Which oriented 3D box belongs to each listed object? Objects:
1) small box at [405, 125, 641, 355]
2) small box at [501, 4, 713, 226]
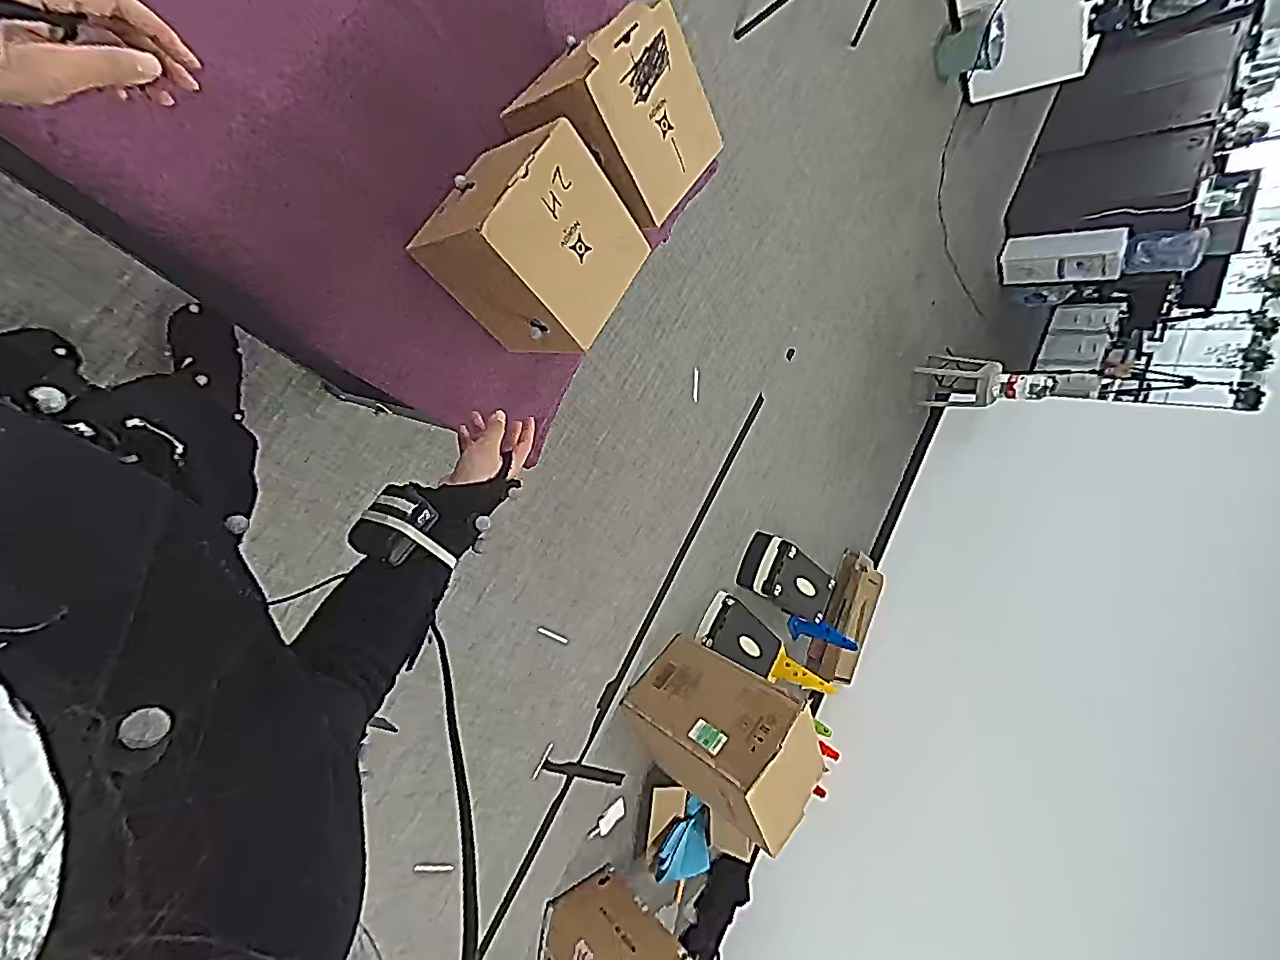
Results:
[{"bbox_3d":[-0.137,-0.271,0.645,0.179,0.176,0.168,44,68,-42],"label":"small box"},{"bbox_3d":[-0.042,-0.441,0.693,0.168,0.176,0.179,-55,135,-17],"label":"small box"}]
